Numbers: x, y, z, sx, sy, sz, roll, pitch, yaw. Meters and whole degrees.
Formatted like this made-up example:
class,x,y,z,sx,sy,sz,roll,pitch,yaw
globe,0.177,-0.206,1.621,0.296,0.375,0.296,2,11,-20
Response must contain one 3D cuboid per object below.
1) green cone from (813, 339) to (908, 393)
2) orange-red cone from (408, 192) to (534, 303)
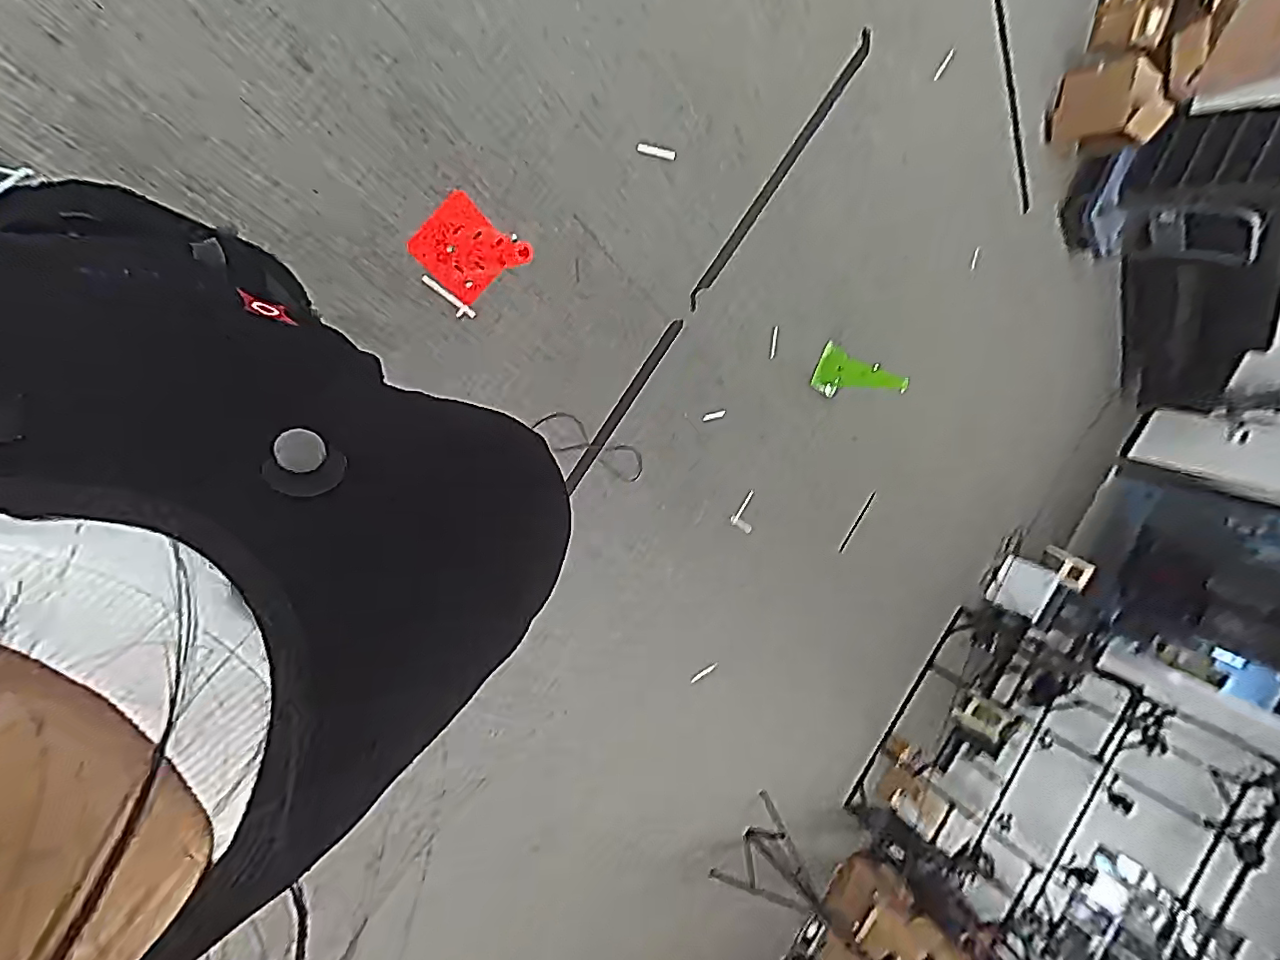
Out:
class,x,y,z,sx,sy,sz,roll,pitch,yaw
green cone,0.957,-0.449,2.291,0.200,0.368,0.202,15,101,-42
orange-red cone,-0.334,-0.515,1.204,0.199,0.360,0.198,-53,133,-10
